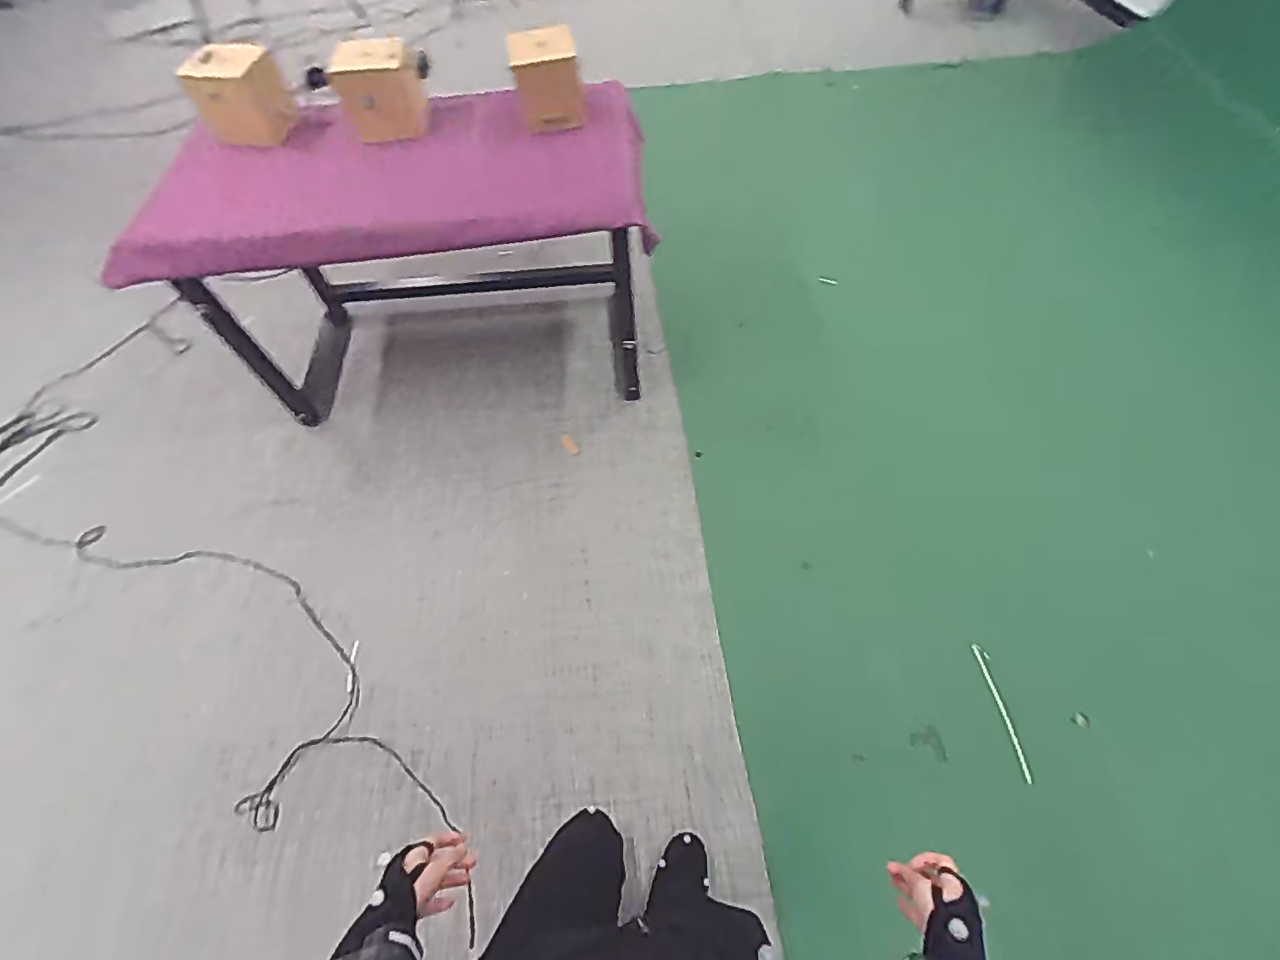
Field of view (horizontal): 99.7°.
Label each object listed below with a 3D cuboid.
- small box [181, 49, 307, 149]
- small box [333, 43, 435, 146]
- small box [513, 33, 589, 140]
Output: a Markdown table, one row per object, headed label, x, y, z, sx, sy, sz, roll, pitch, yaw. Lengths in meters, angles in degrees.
| label | x | y | z | sx | sy | sz | roll | pitch | yaw |
| --- | --- | --- | --- | --- | --- | --- | --- | --- | --- |
| small box | -1.036 | -1.005 | 1.432 | 0.179 | 0.176 | 0.168 | 6 | 60 | 4 |
| small box | -0.666 | -1.010 | 1.425 | 0.179 | 0.176 | 0.168 | -6 | 60 | -1 |
| small box | -0.233 | -1.033 | 1.423 | 0.168 | 0.176 | 0.179 | -10 | 60 | -2 |
